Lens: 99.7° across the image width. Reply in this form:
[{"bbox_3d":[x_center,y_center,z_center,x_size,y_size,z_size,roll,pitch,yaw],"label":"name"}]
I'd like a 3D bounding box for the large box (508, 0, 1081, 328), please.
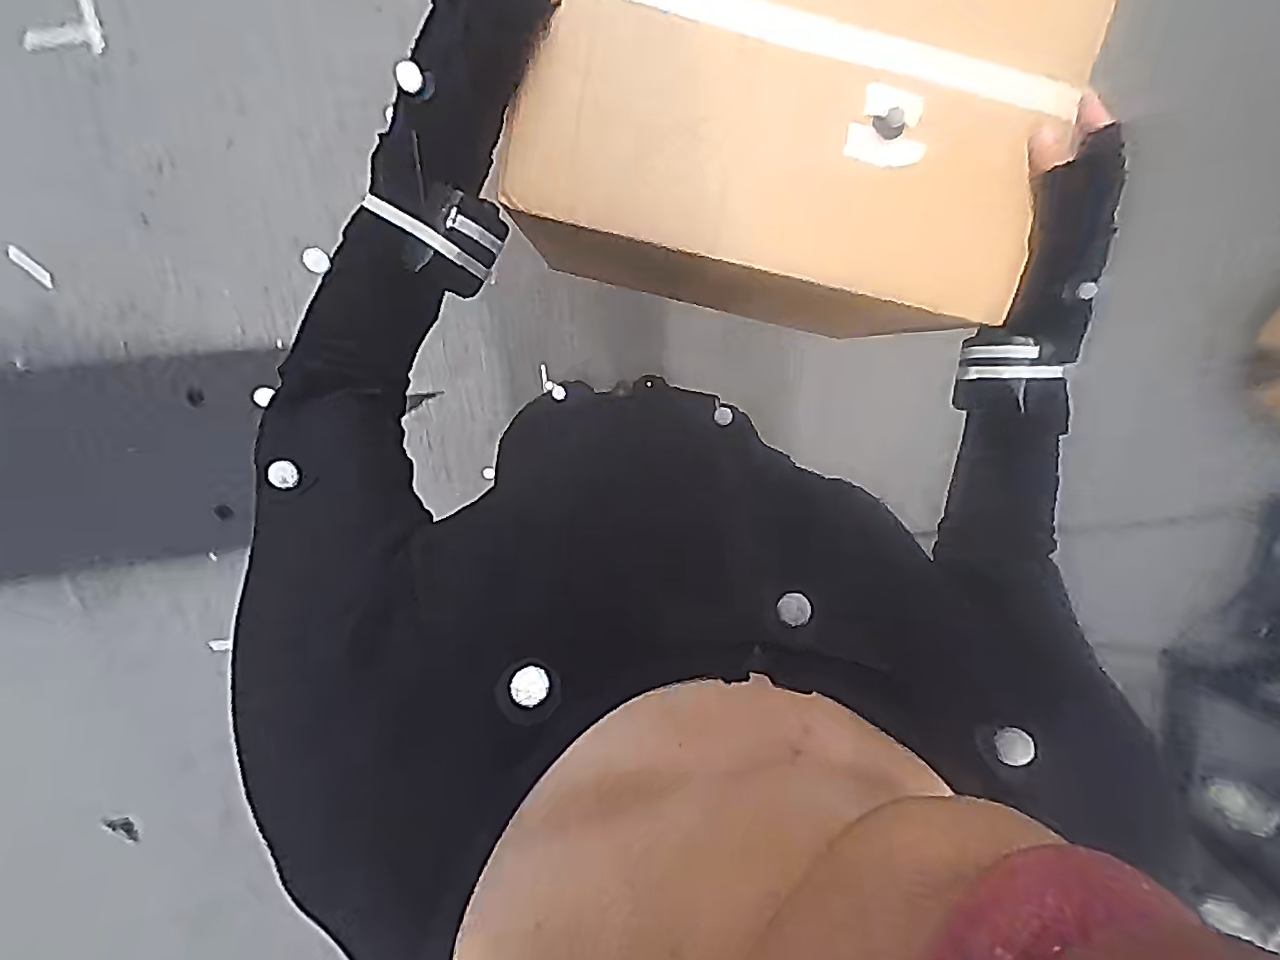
[{"bbox_3d":[0.109,-0.352,0.542,0.408,0.320,0.320,10,102,-5],"label":"large box"}]
